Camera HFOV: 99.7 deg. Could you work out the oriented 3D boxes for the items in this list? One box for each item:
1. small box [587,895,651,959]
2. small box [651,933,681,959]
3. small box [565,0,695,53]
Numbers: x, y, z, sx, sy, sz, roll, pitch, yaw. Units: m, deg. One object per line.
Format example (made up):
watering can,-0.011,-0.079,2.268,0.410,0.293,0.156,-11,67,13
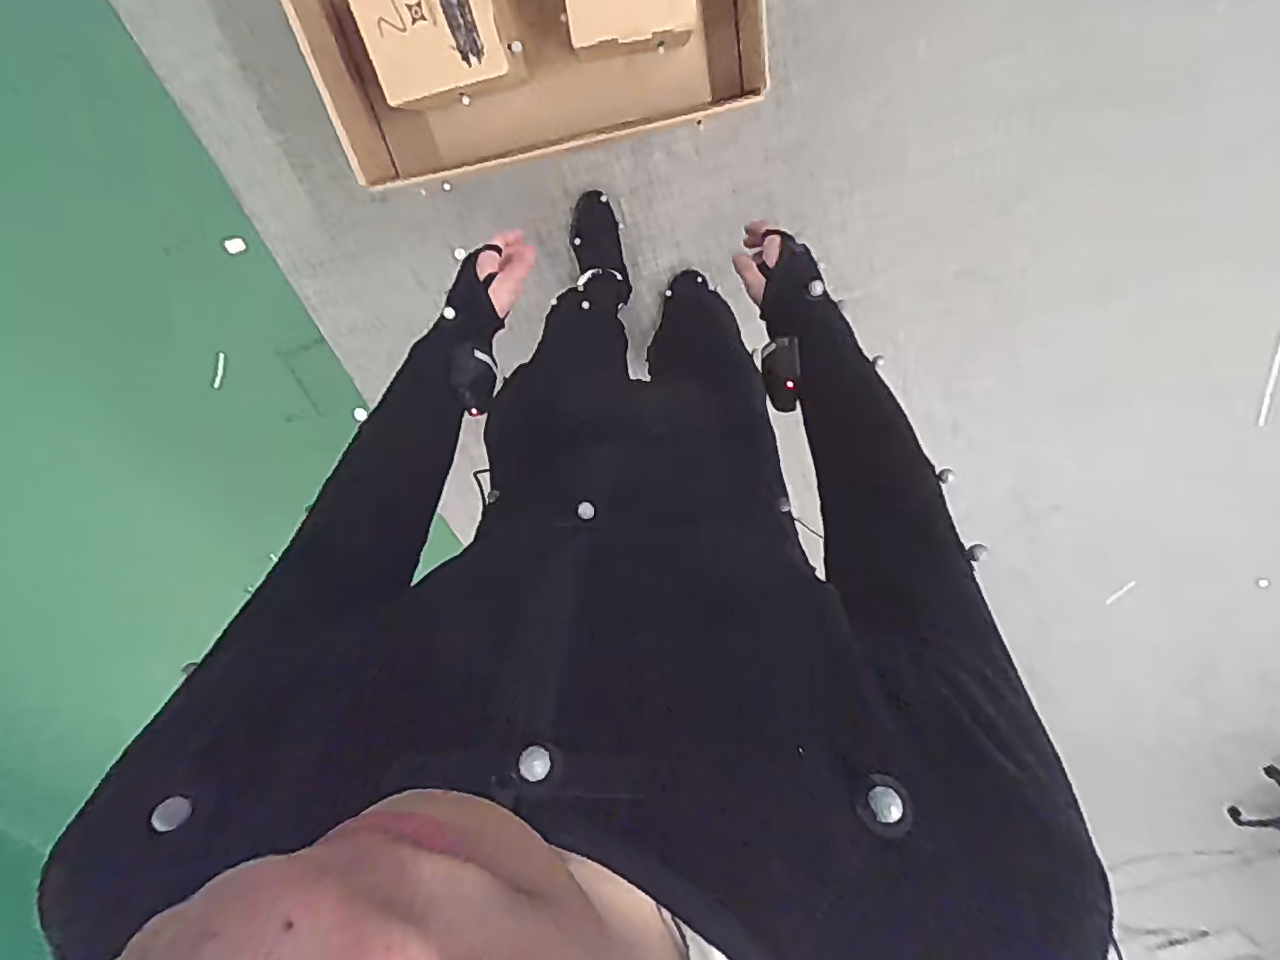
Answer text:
small box,-0.062,1.488,1.761,0.168,0.176,0.179,-16,121,9
small box,0.054,1.770,1.943,0.168,0.176,0.179,-19,120,9
small box,-0.017,-0.690,0.720,0.168,0.176,0.179,-6,123,4
